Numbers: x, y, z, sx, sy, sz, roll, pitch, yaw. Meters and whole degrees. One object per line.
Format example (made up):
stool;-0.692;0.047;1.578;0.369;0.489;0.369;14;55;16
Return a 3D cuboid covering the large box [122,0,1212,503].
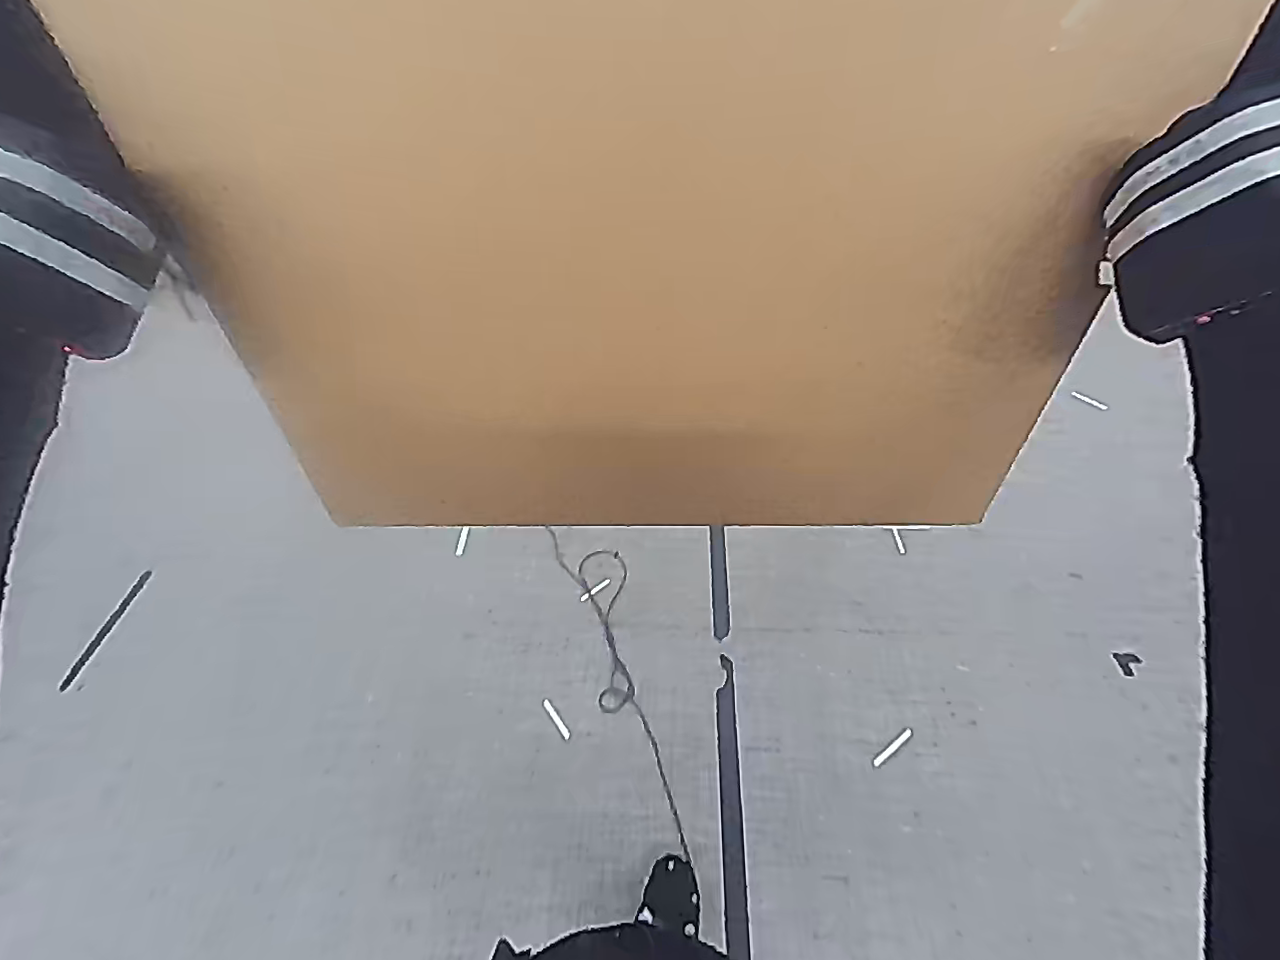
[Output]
large box;0.010;-0.196;0.367;0.408;0.320;0.320;0;42;1
